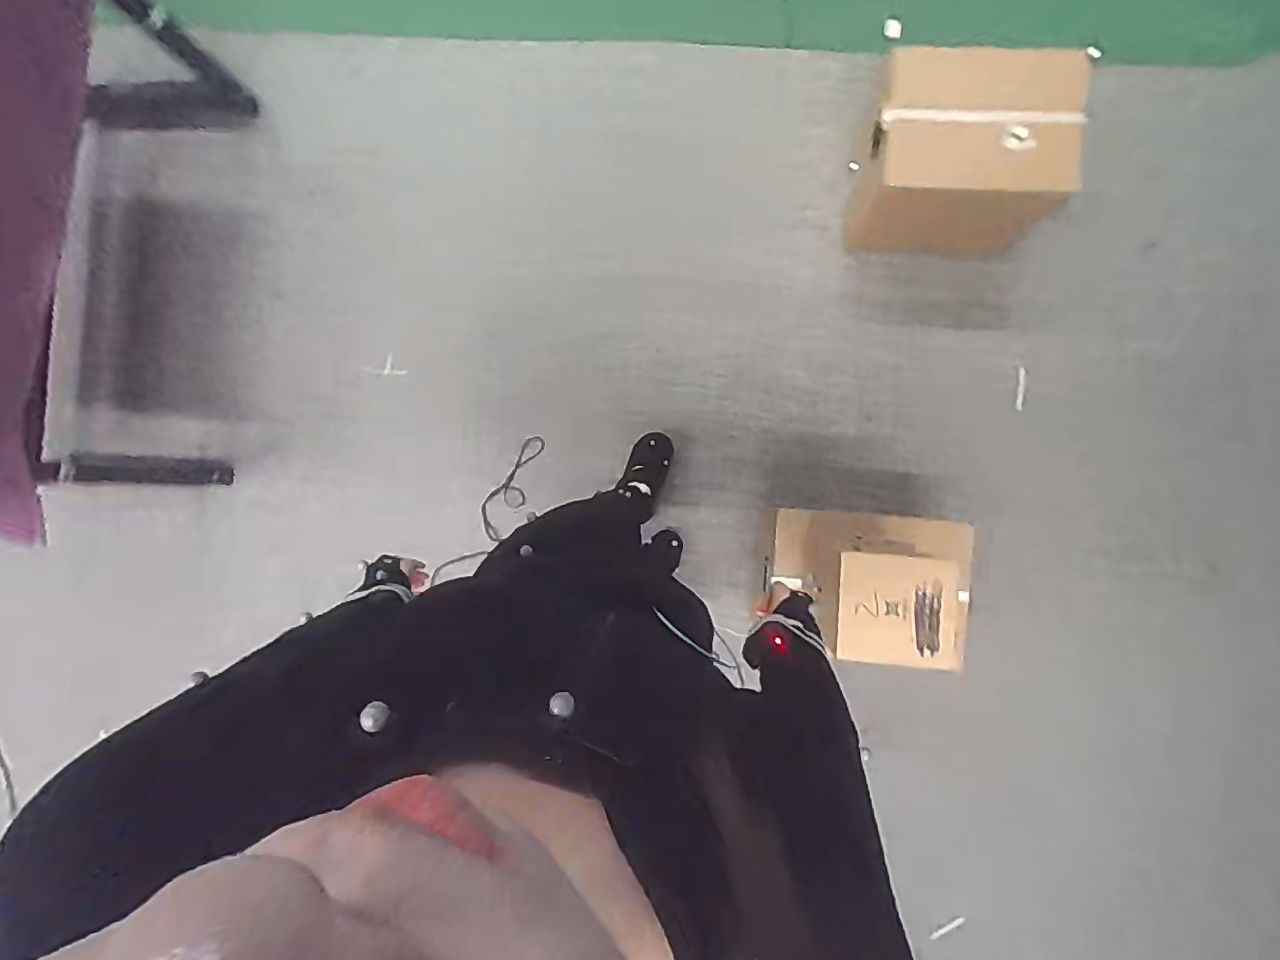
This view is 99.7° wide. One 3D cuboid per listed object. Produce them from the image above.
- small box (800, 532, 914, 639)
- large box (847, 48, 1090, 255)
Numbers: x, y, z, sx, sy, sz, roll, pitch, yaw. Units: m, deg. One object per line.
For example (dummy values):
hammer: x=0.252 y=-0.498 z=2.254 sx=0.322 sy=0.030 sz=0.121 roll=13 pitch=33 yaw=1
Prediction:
small box: x=0.419 y=0.200 z=1.068 sx=0.168 sy=0.176 sz=0.179 roll=4 pitch=87 yaw=5
large box: x=0.754 y=-0.764 z=1.302 sx=0.408 sy=0.320 sz=0.320 roll=5 pitch=89 yaw=4
